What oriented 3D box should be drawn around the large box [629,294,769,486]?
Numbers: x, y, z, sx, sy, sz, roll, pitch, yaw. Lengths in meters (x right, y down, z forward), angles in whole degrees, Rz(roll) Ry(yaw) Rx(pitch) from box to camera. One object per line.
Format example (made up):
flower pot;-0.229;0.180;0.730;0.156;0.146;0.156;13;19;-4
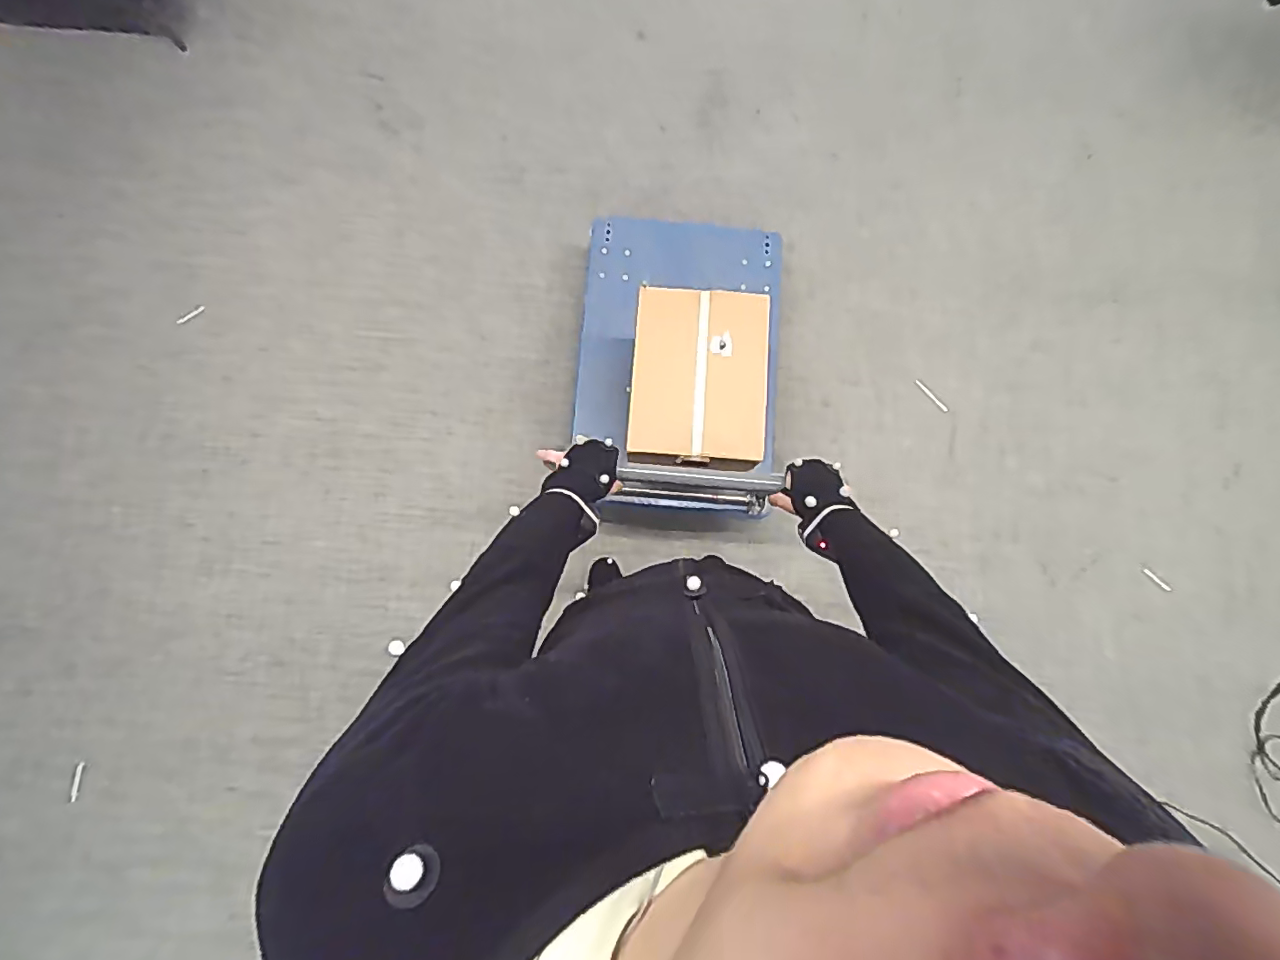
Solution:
large box;0.139;-0.208;1.380;0.320;0.320;0.408;4;80;-1
